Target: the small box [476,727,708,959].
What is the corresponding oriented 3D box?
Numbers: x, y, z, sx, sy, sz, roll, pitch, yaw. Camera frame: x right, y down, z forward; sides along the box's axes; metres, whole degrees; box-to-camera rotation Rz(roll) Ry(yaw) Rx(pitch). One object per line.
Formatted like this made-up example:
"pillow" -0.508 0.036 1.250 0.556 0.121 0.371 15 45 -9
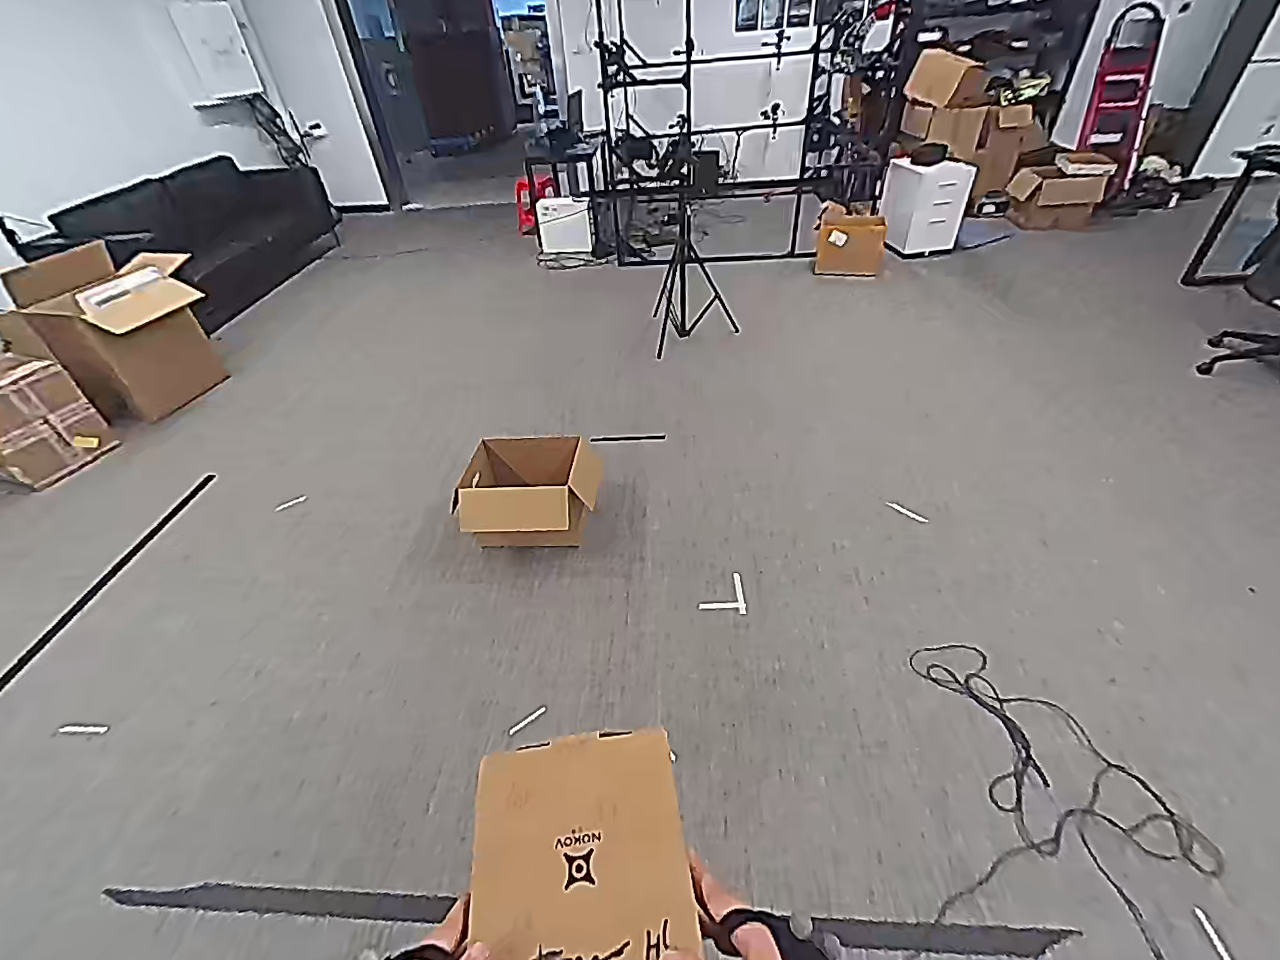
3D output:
"small box" -0.039 0.350 0.483 0.168 0.176 0.179 -7 45 -3
